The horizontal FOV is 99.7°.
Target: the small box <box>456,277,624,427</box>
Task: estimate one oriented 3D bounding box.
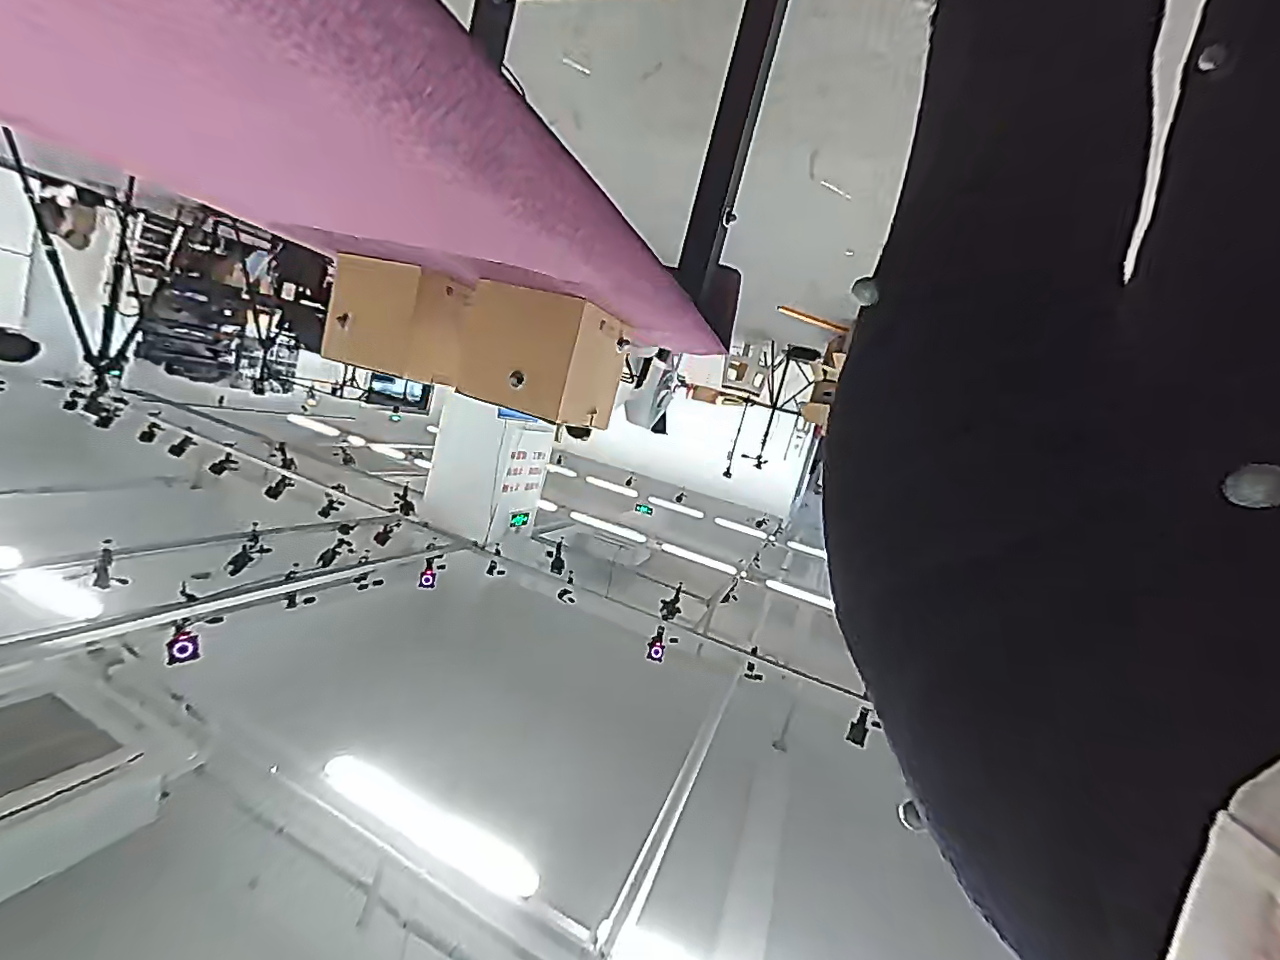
[{"bbox_3d":[-0.137,-0.186,0.801,0.179,0.176,0.168,19,-173,20],"label":"small box"}]
